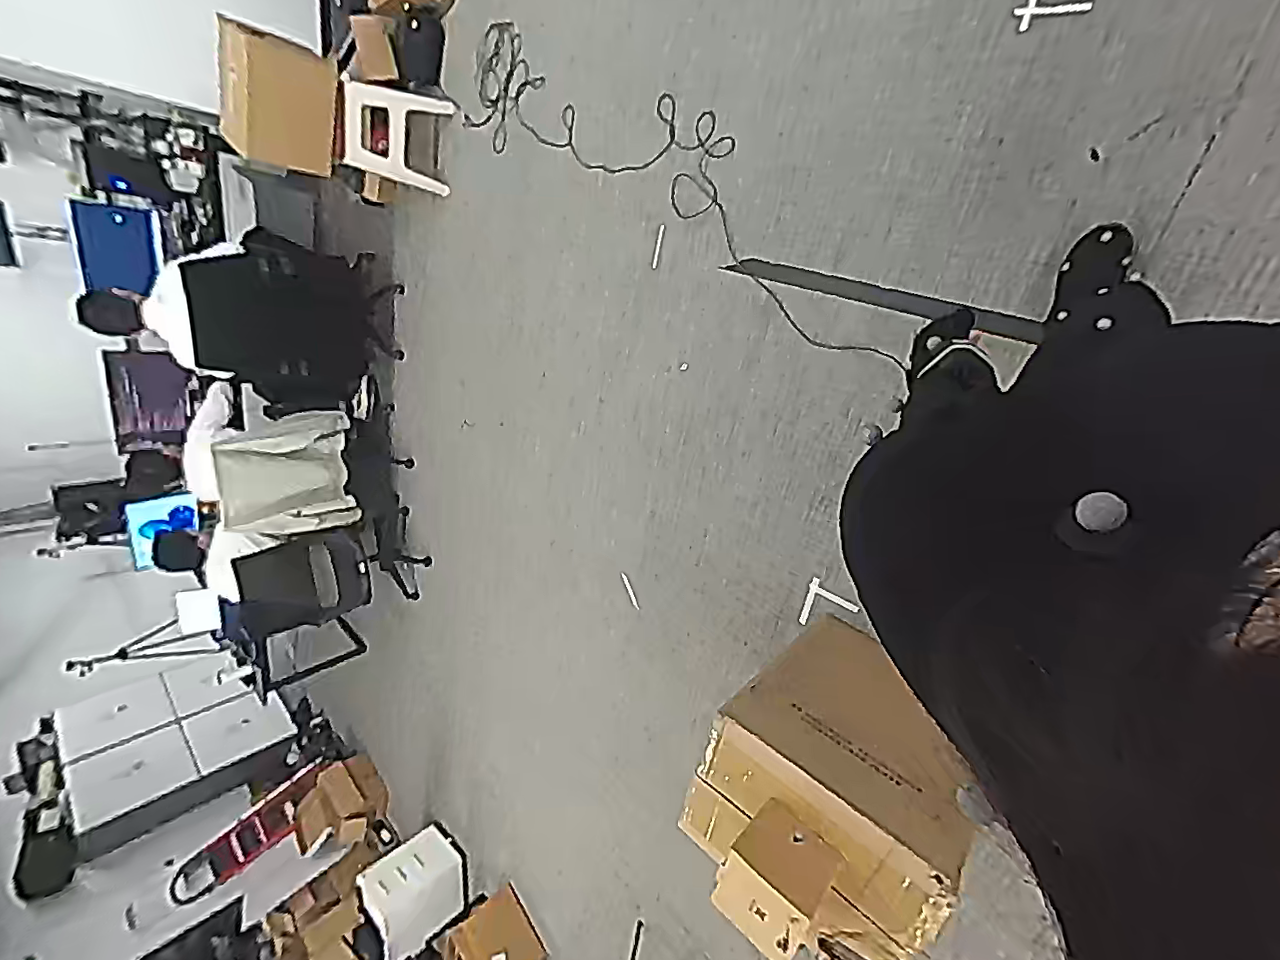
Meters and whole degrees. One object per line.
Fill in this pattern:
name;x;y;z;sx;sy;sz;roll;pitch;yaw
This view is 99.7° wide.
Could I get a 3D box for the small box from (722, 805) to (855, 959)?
small box;0.299;0.799;1.090;0.179;0.176;0.168;29;118;35
